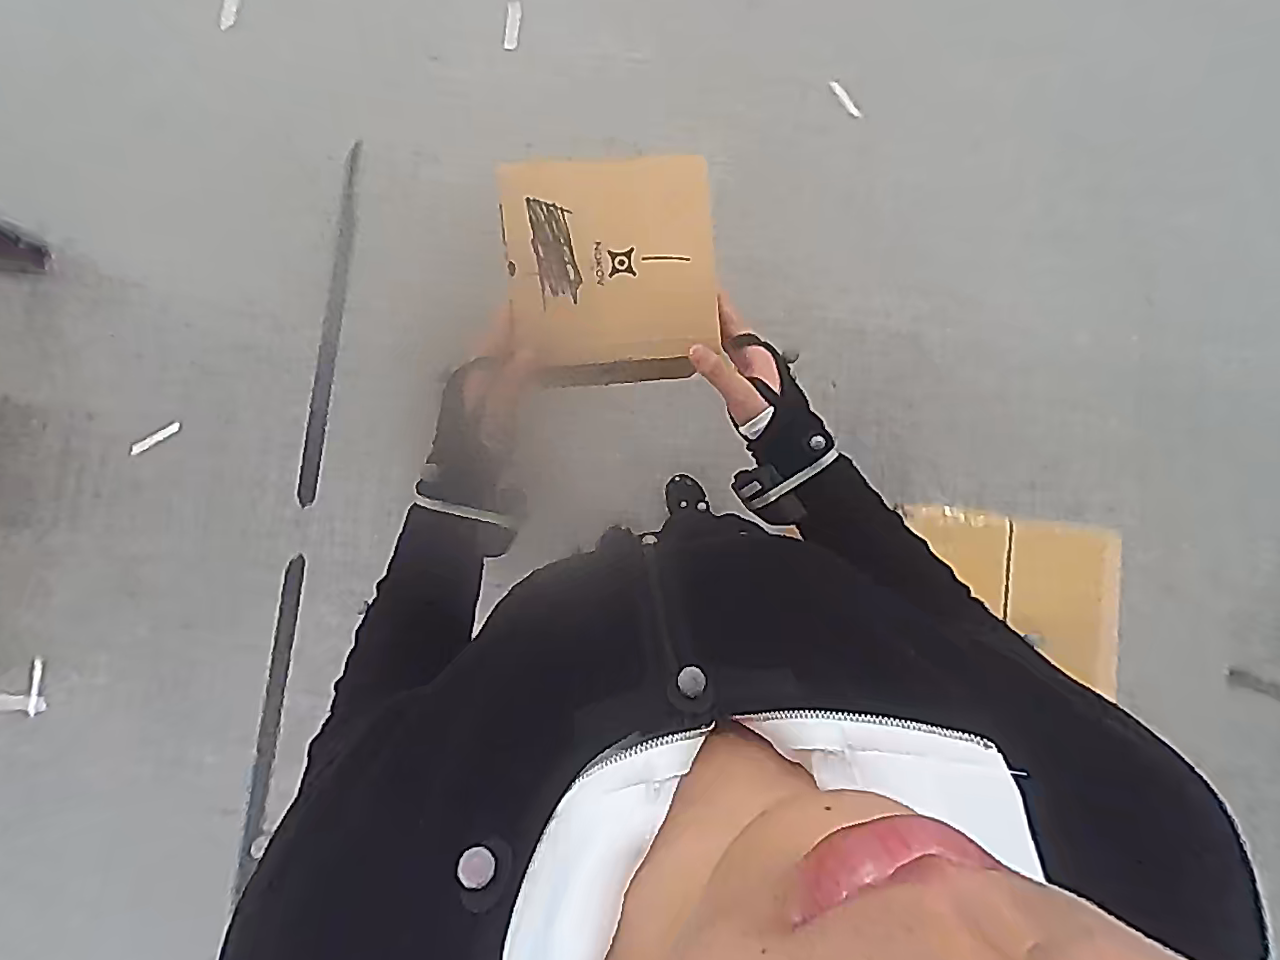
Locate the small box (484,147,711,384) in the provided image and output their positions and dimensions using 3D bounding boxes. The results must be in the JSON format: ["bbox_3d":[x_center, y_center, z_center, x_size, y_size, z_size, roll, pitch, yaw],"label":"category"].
[{"bbox_3d":[-0.038,-0.191,0.530,0.179,0.176,0.168,-7,94,-4],"label":"small box"}]
